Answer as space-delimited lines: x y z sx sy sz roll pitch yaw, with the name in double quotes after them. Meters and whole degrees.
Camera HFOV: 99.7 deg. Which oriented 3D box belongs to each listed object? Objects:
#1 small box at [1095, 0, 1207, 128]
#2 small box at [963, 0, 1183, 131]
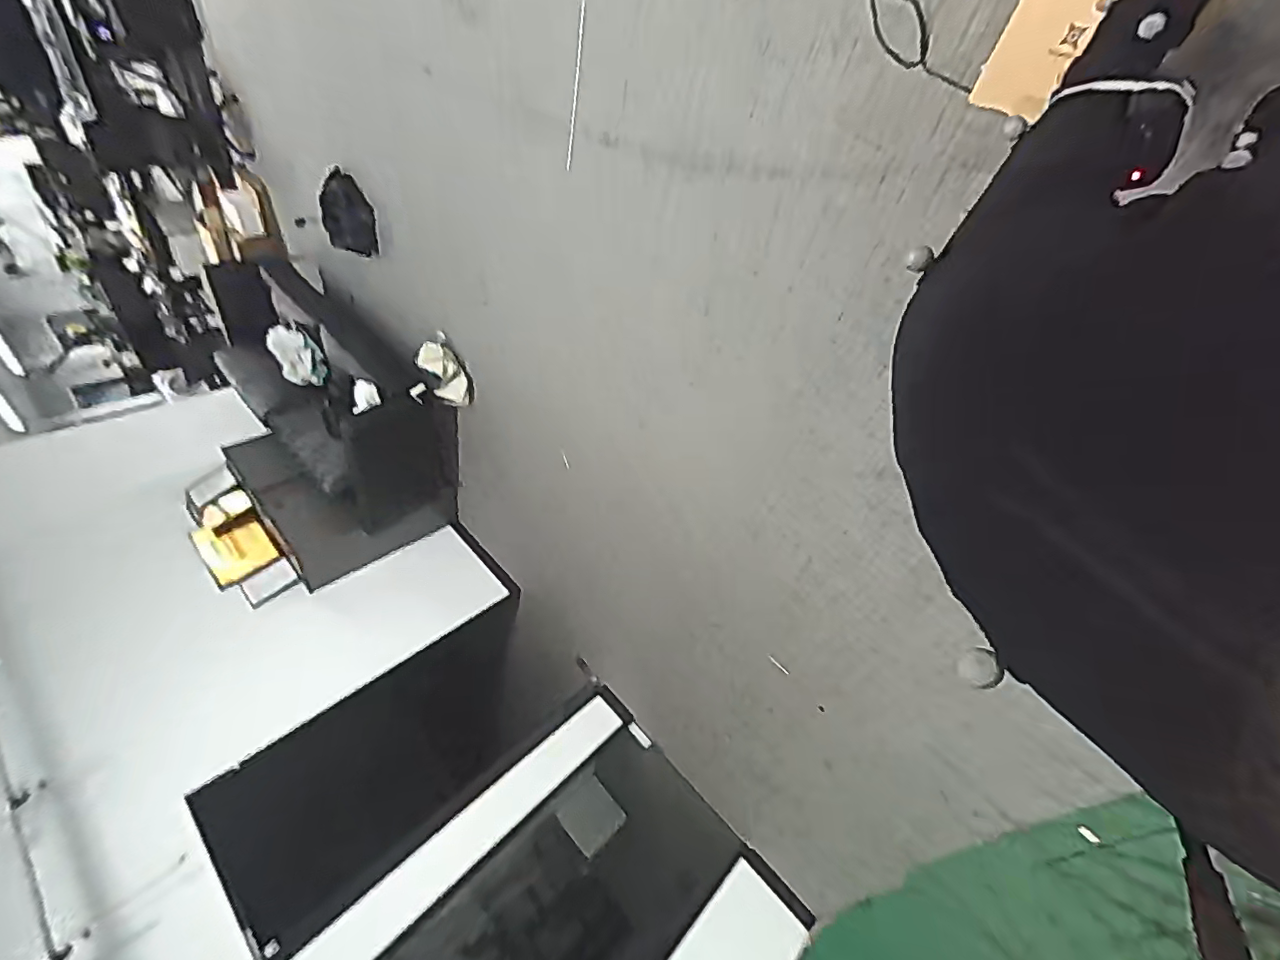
0.806 -0.734 0.926 0.168 0.176 0.179 42 140 21 "small box"
0.584 -0.598 0.726 0.168 0.176 0.179 40 141 23 "small box"
